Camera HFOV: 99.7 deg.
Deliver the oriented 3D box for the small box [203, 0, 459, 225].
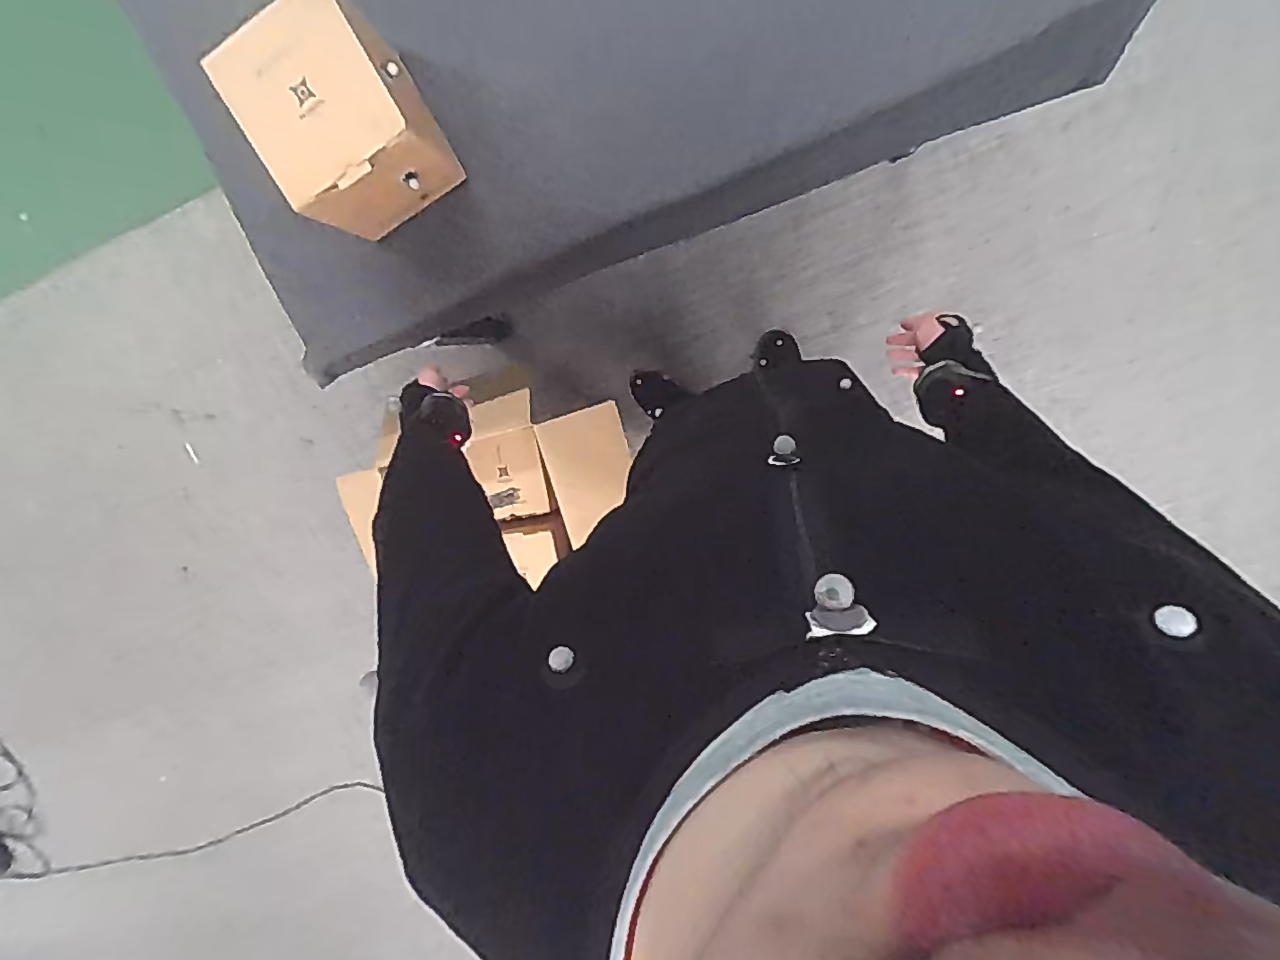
[{"bbox_3d":[-0.354,-0.438,0.659,0.168,0.176,0.179,-29,99,10],"label":"small box"}]
